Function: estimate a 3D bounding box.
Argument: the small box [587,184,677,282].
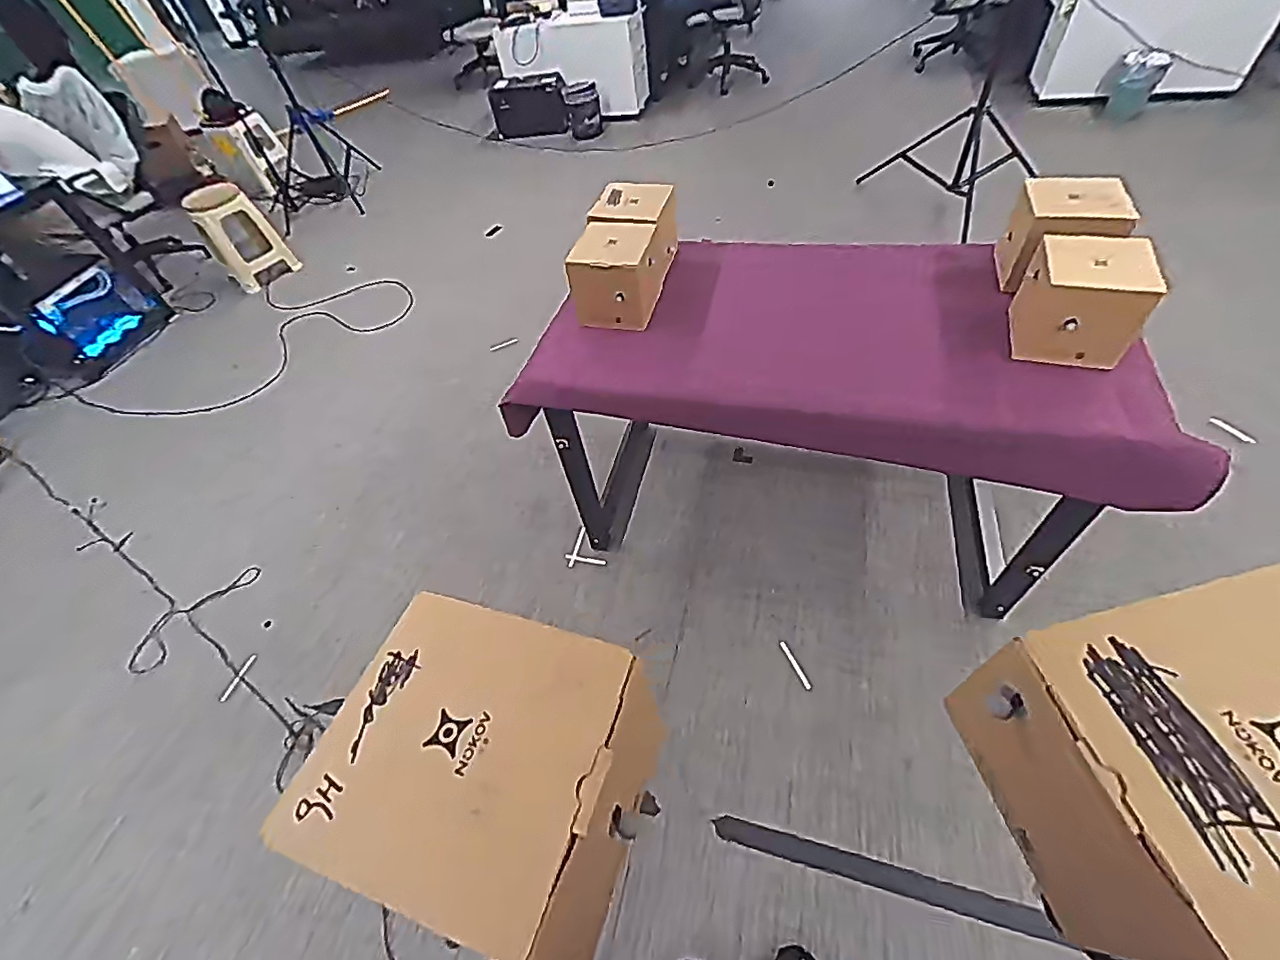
[{"bbox_3d":[-0.013,-0.619,1.359,0.179,0.176,0.168,11,56,15],"label":"small box"}]

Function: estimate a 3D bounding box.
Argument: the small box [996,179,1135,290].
[{"bbox_3d":[0.876,-0.510,1.138,0.179,0.176,0.168,9,55,15],"label":"small box"}]

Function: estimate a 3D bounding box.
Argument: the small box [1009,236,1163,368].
[{"bbox_3d":[0.818,-0.333,1.014,0.168,0.176,0.179,12,53,18],"label":"small box"}]

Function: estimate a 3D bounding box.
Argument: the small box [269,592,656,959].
[{"bbox_3d":[-0.095,0.210,0.386,0.179,0.176,0.168,11,52,17],"label":"small box"}]
